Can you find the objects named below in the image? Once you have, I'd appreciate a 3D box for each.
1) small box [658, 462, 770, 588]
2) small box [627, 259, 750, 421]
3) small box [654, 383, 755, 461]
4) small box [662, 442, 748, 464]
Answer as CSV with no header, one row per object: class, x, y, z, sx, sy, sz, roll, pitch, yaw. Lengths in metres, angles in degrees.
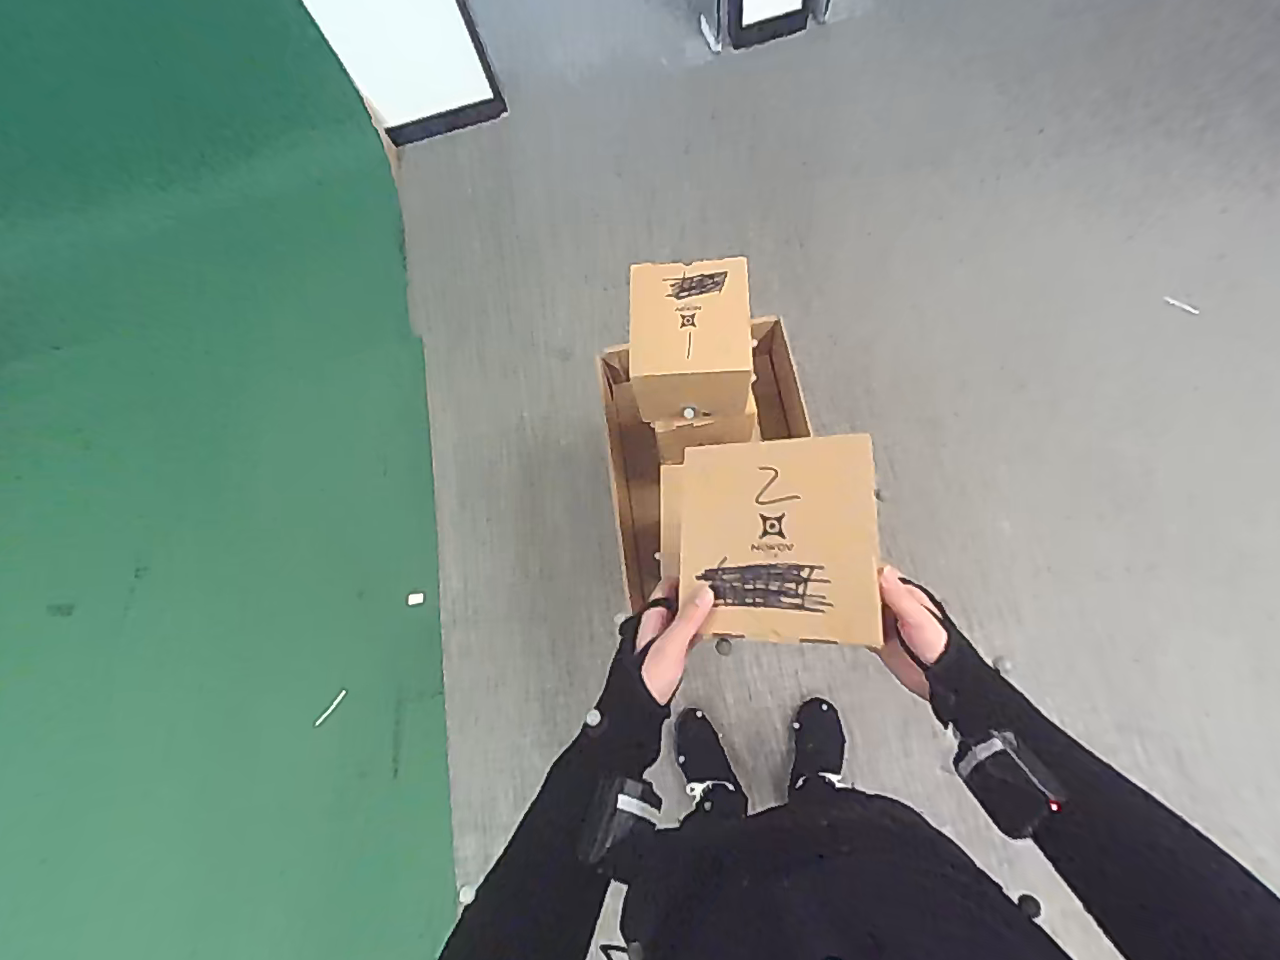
small box,0.120,0.081,0.886,0.168,0.176,0.179,-1,71,7
small box,0.074,-0.202,0.815,0.168,0.176,0.179,-2,74,7
small box,0.101,-0.152,0.969,0.168,0.176,0.179,-11,73,4
small box,0.123,-0.107,1.123,0.168,0.176,0.179,-11,72,5
